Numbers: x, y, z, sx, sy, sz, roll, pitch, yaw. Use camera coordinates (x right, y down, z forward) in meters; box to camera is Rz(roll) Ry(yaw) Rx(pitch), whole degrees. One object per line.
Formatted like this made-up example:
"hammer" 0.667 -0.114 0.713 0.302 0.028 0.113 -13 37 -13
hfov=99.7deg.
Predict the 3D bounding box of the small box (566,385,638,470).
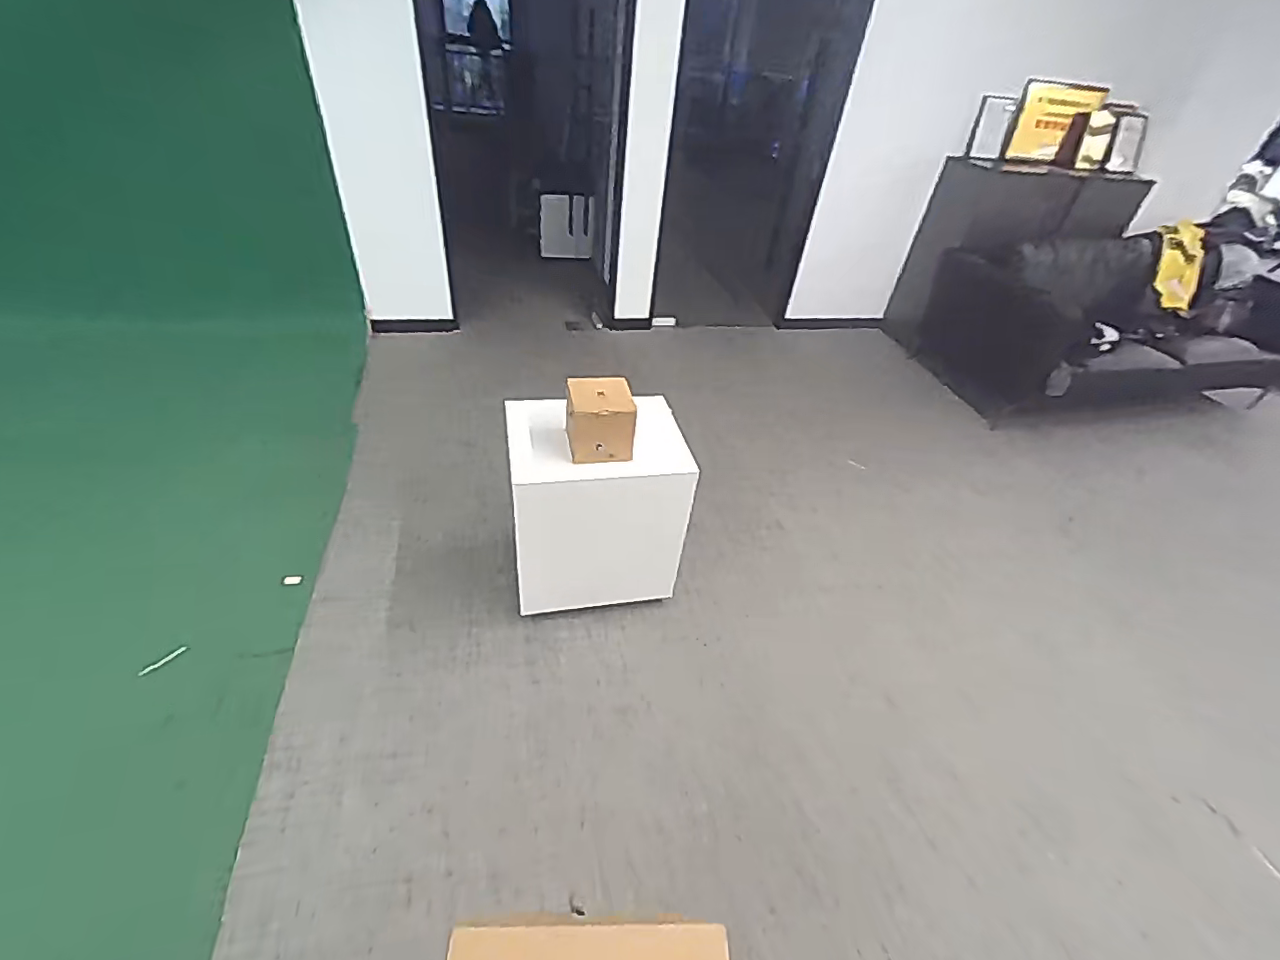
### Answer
"small box" -0.111 -0.146 1.485 0.168 0.176 0.179 -4 39 -14
